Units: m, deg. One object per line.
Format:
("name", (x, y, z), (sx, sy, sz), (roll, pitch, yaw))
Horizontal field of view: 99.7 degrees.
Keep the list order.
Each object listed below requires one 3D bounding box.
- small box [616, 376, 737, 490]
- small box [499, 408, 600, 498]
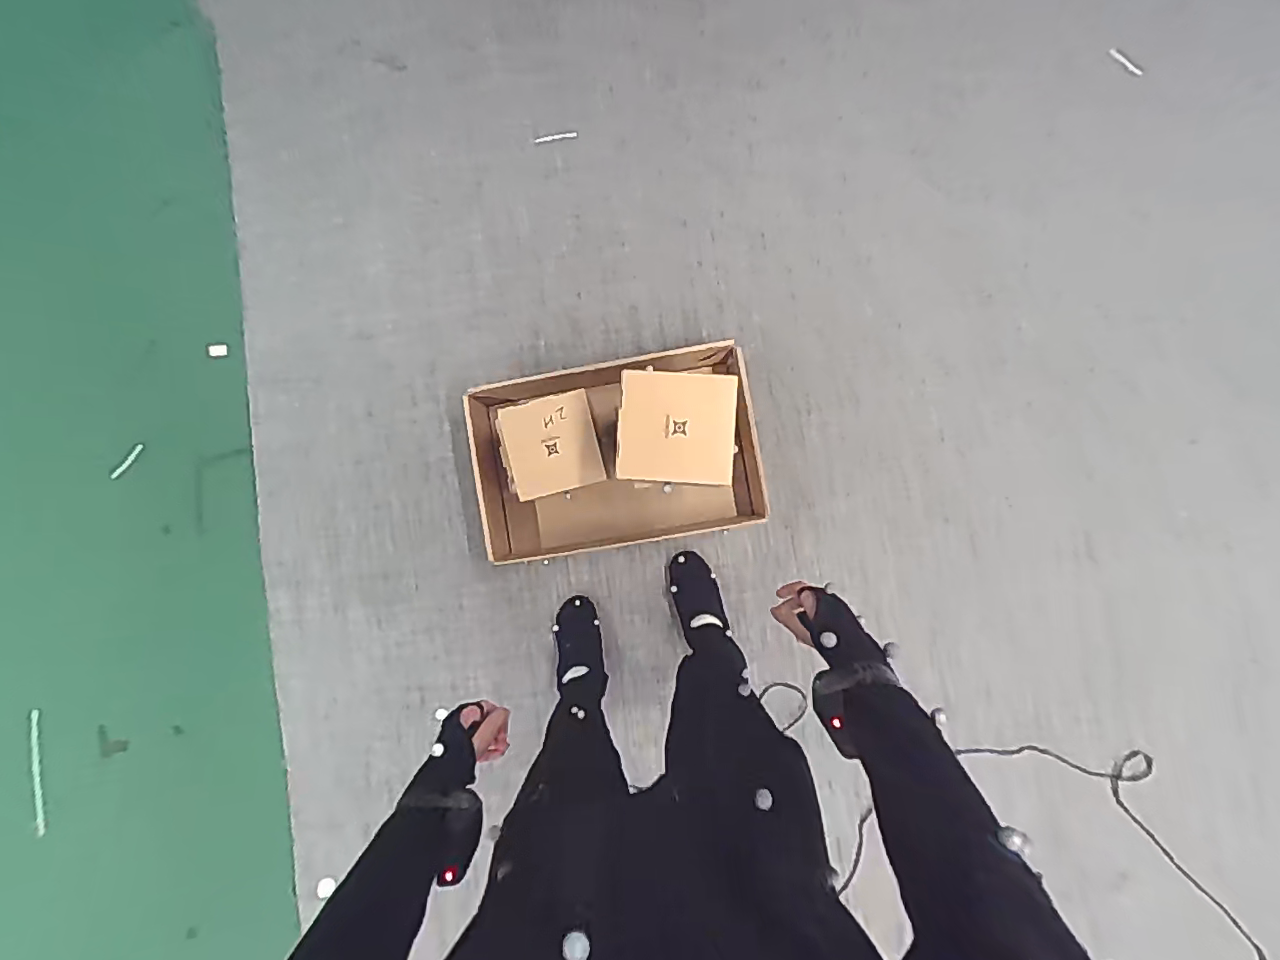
("small box", (0.060, -0.071, 0.887), (0.179, 0.176, 0.168), (2, 89, 5))
("small box", (-0.199, -0.054, 1.229), (0.179, 0.176, 0.168), (-13, 88, 1))
